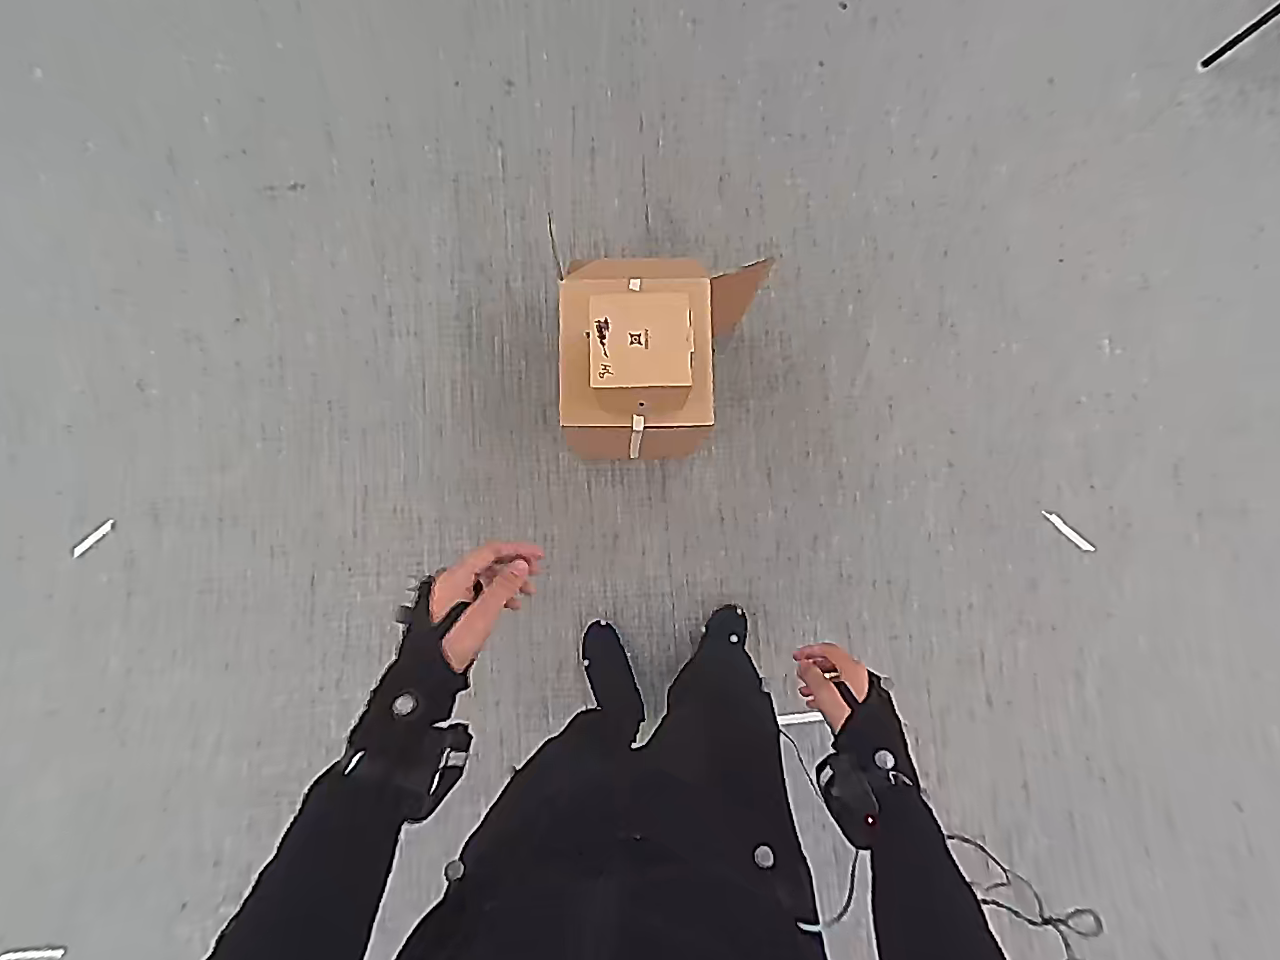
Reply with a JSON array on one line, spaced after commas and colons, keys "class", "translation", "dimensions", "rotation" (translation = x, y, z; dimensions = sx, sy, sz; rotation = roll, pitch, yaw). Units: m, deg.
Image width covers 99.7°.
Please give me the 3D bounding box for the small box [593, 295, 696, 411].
[{"class": "small box", "translation": [0.005, -0.225, 0.992], "dimensions": [0.179, 0.176, 0.168], "rotation": [-1, 85, -1]}]
